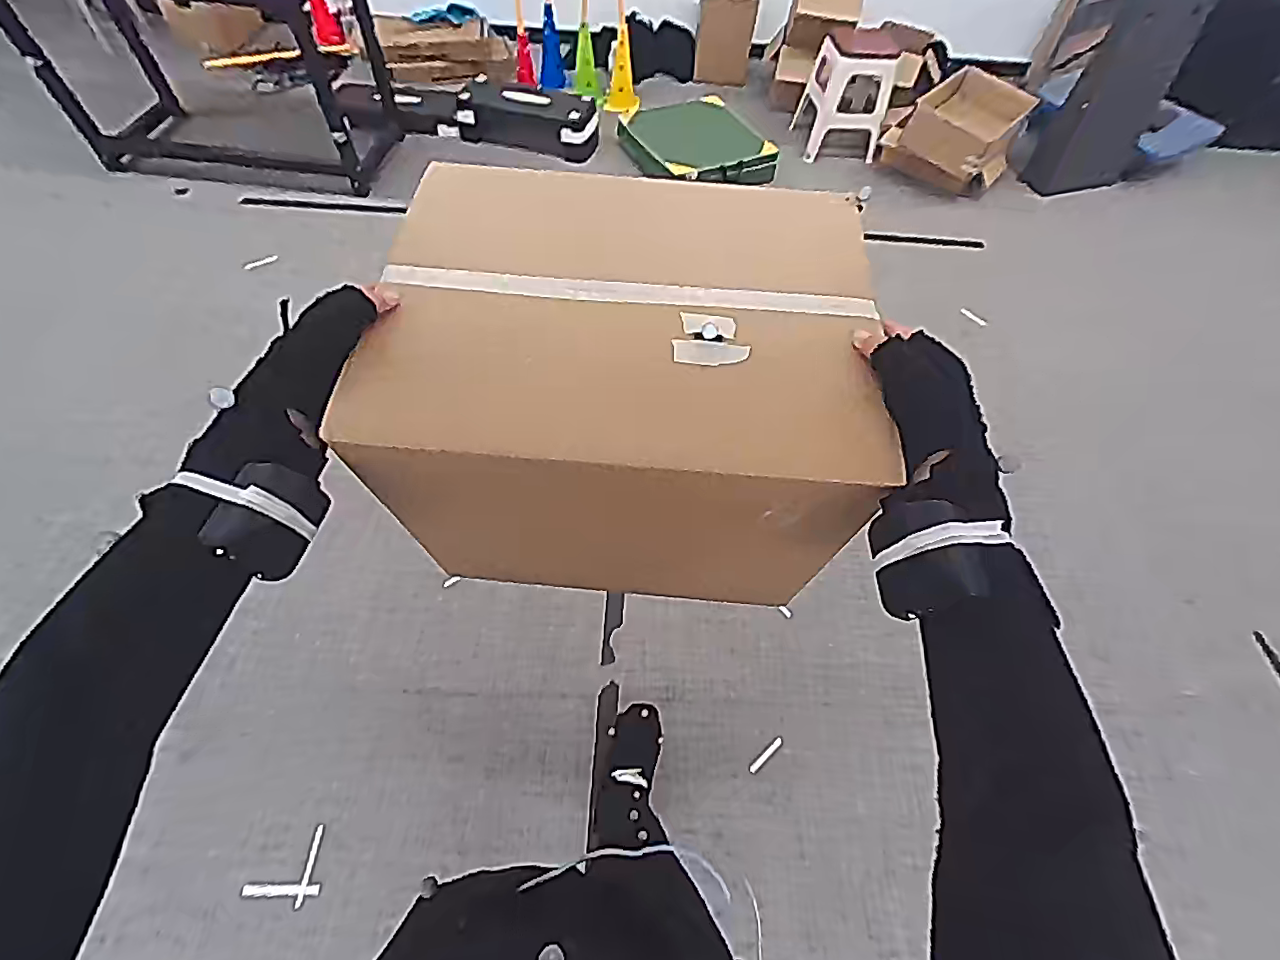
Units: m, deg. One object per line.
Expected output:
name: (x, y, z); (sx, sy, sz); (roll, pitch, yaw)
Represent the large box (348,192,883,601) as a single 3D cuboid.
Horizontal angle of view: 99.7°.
large box: (-0.015, -0.069, 0.595); (0.408, 0.320, 0.320); (5, 62, 0)
